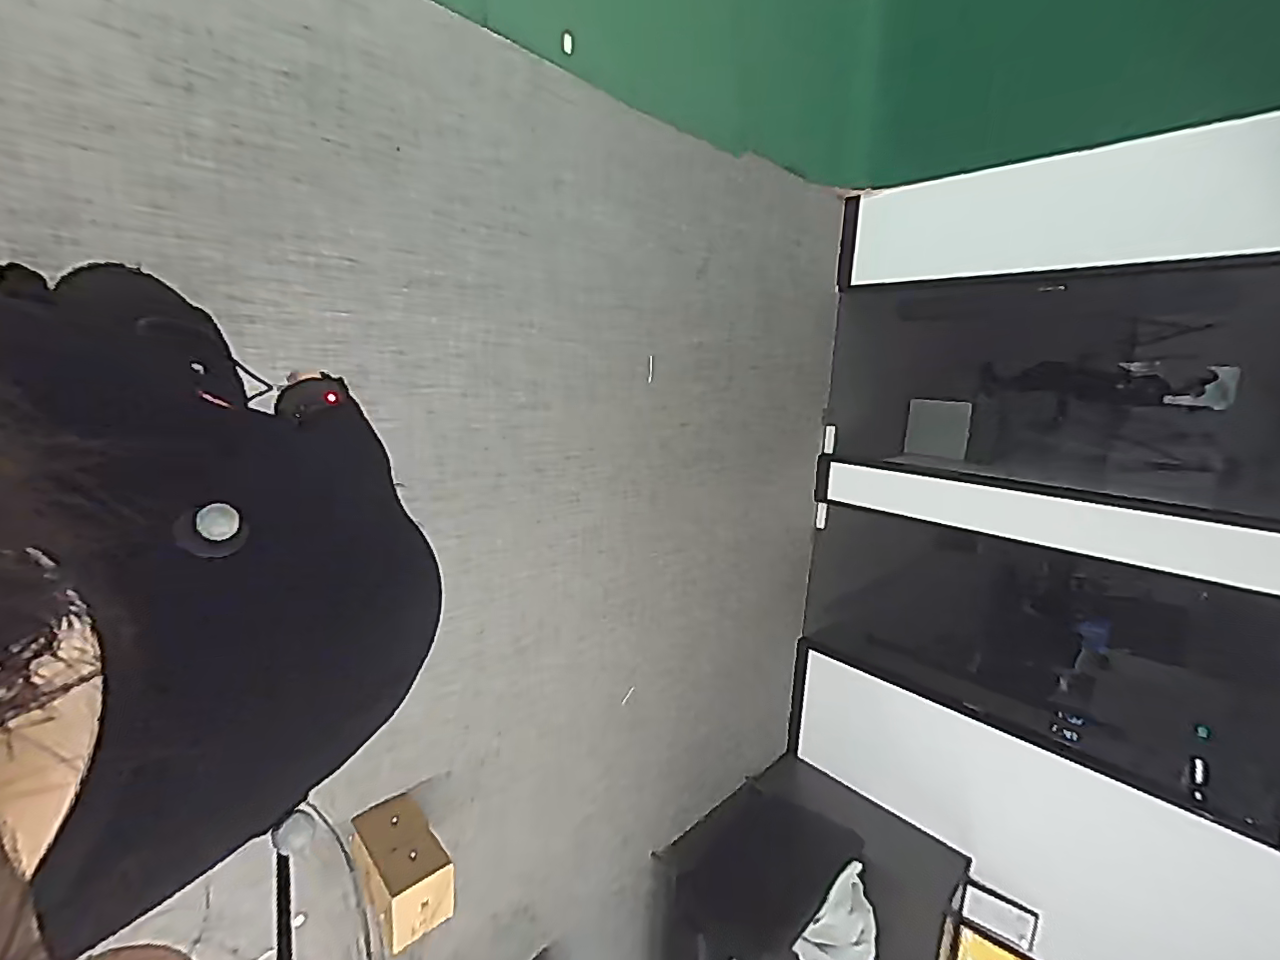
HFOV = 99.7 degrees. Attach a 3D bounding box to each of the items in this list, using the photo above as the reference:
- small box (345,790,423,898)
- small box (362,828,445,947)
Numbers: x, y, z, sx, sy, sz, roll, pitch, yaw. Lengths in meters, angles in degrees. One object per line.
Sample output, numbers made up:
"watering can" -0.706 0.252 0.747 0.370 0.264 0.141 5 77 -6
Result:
"small box" -0.769 1.080 1.618 0.179 0.176 0.168 -8 106 -45
"small box" -0.658 1.114 1.501 0.168 0.176 0.179 -7 106 -44
